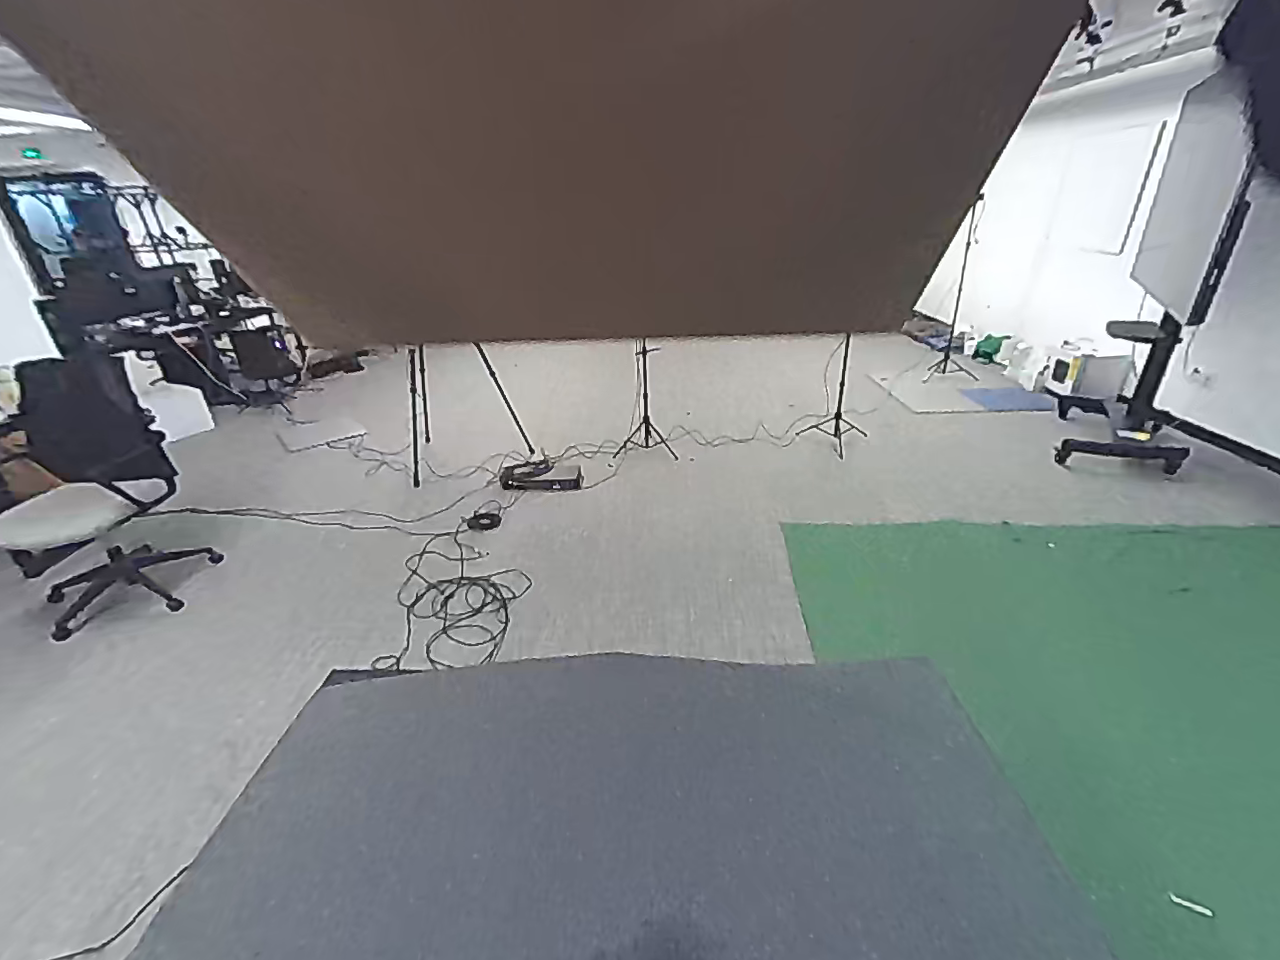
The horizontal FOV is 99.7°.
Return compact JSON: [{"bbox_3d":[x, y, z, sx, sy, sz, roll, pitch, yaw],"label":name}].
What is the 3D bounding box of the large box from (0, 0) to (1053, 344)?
[{"bbox_3d":[-0.043,-0.295,0.292,0.408,0.320,0.320,-1,69,3],"label":"large box"}]
